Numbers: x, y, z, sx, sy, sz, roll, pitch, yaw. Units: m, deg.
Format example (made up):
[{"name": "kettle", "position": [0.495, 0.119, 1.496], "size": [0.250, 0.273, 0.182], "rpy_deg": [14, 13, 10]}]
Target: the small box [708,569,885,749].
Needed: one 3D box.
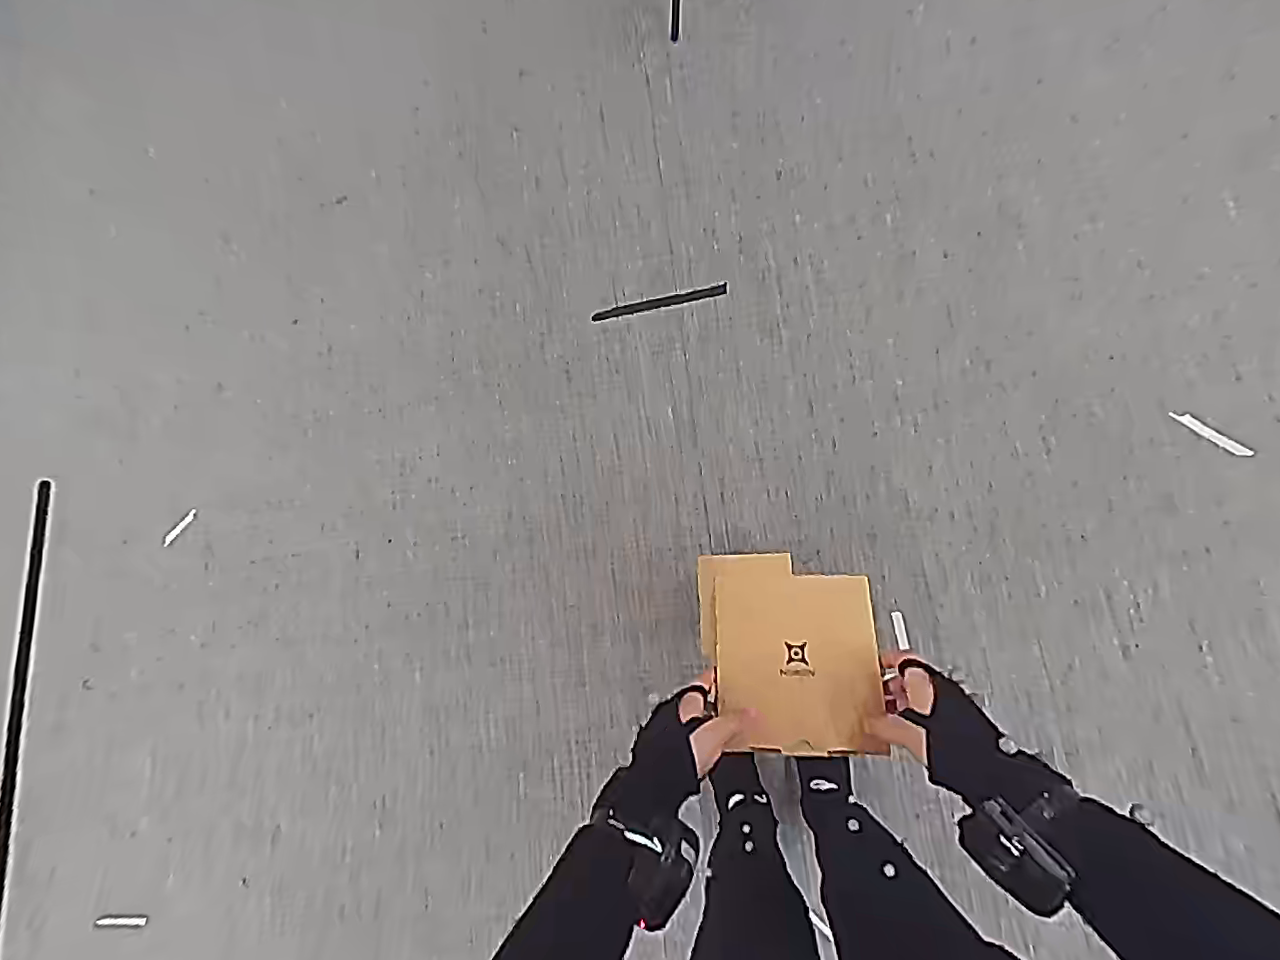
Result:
[{"name": "small box", "position": [0.165, 0.208, 0.631], "size": [0.168, 0.176, 0.179], "rpy_deg": [-1, 69, 6]}]

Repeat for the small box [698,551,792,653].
[{"name": "small box", "position": [0.199, 0.228, 1.019], "size": [0.168, 0.176, 0.179], "rpy_deg": [-3, 80, 11]}]
